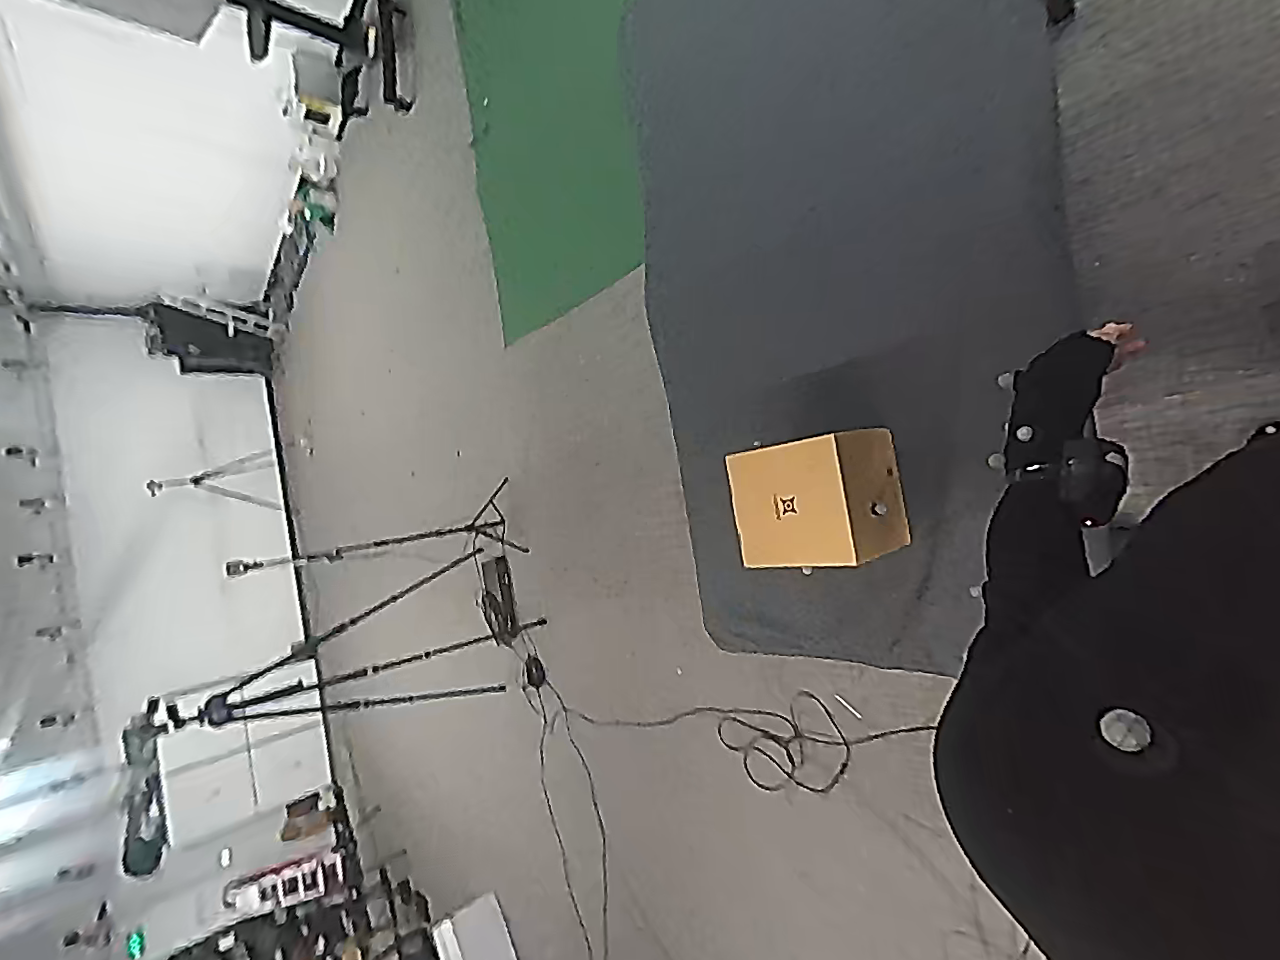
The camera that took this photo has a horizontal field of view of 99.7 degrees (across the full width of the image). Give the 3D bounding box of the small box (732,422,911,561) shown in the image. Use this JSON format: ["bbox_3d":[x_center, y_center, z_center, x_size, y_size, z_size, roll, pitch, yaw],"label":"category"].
[{"bbox_3d":[0.264,0.016,0.774,0.179,0.176,0.168,-13,87,50],"label":"small box"}]
